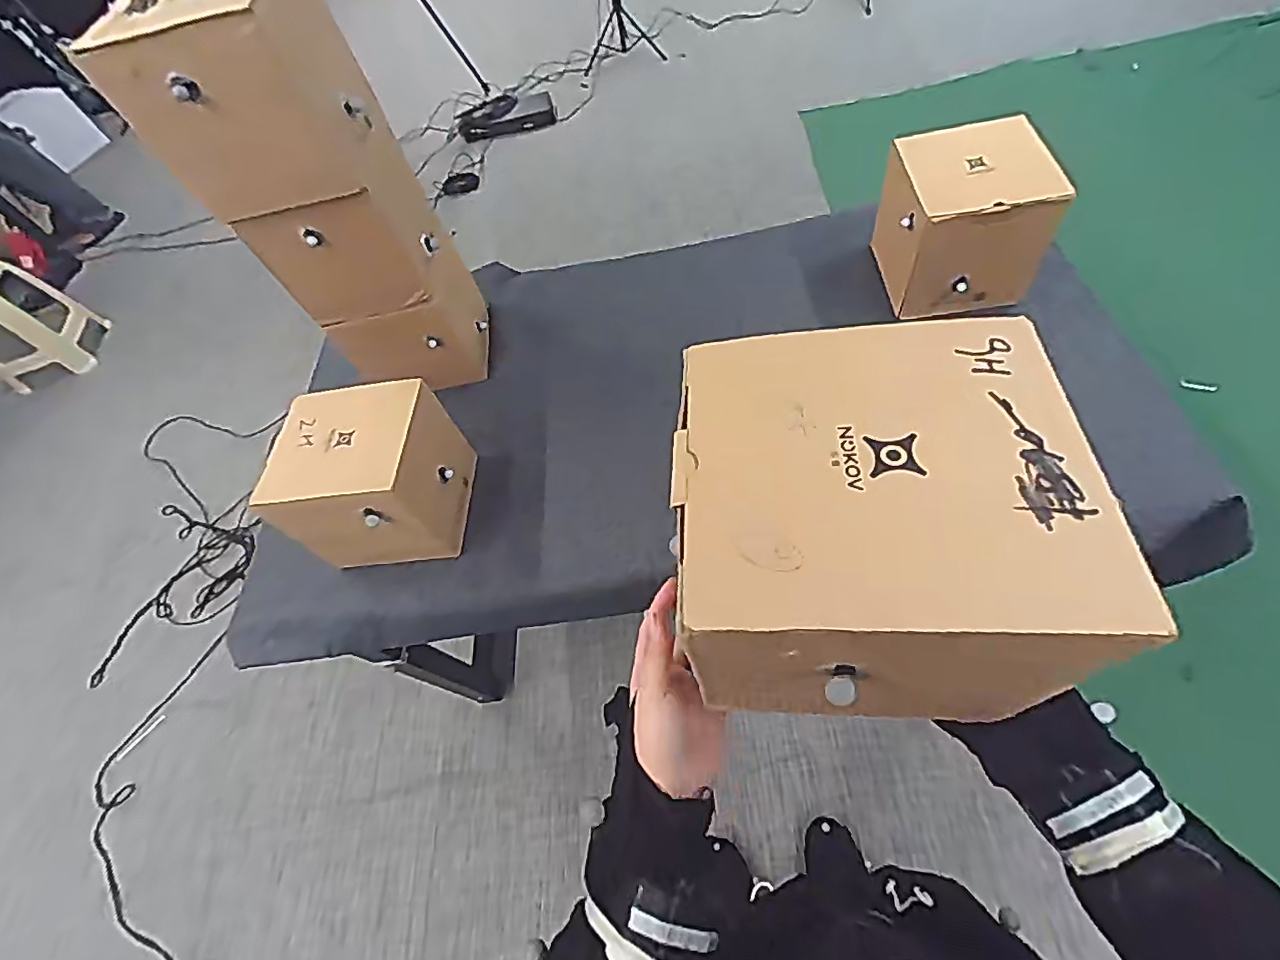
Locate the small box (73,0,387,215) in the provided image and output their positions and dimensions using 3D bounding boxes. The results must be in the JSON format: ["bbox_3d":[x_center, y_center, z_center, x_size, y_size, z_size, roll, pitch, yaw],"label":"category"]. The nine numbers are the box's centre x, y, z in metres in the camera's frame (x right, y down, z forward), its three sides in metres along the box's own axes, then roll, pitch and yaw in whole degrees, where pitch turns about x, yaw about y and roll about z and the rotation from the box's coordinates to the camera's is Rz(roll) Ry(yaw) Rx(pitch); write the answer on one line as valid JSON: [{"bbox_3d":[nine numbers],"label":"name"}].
[{"bbox_3d":[-0.403,-0.410,0.570,0.179,0.176,0.168,-9,60,5],"label":"small box"}]

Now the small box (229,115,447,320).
[{"bbox_3d":[-0.381,-0.336,0.716,0.179,0.176,0.168,-11,60,4],"label":"small box"}]

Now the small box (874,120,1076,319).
[{"bbox_3d":[0.440,-0.353,0.749,0.168,0.176,0.179,-6,60,8],"label":"small box"}]

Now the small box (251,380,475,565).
[{"bbox_3d":[-0.332,-0.003,0.694,0.179,0.176,0.168,-6,56,8],"label":"small box"}]

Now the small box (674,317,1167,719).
[{"bbox_3d":[0.119,0.034,0.311,0.179,0.176,0.168,-3,57,11],"label":"small box"}]
